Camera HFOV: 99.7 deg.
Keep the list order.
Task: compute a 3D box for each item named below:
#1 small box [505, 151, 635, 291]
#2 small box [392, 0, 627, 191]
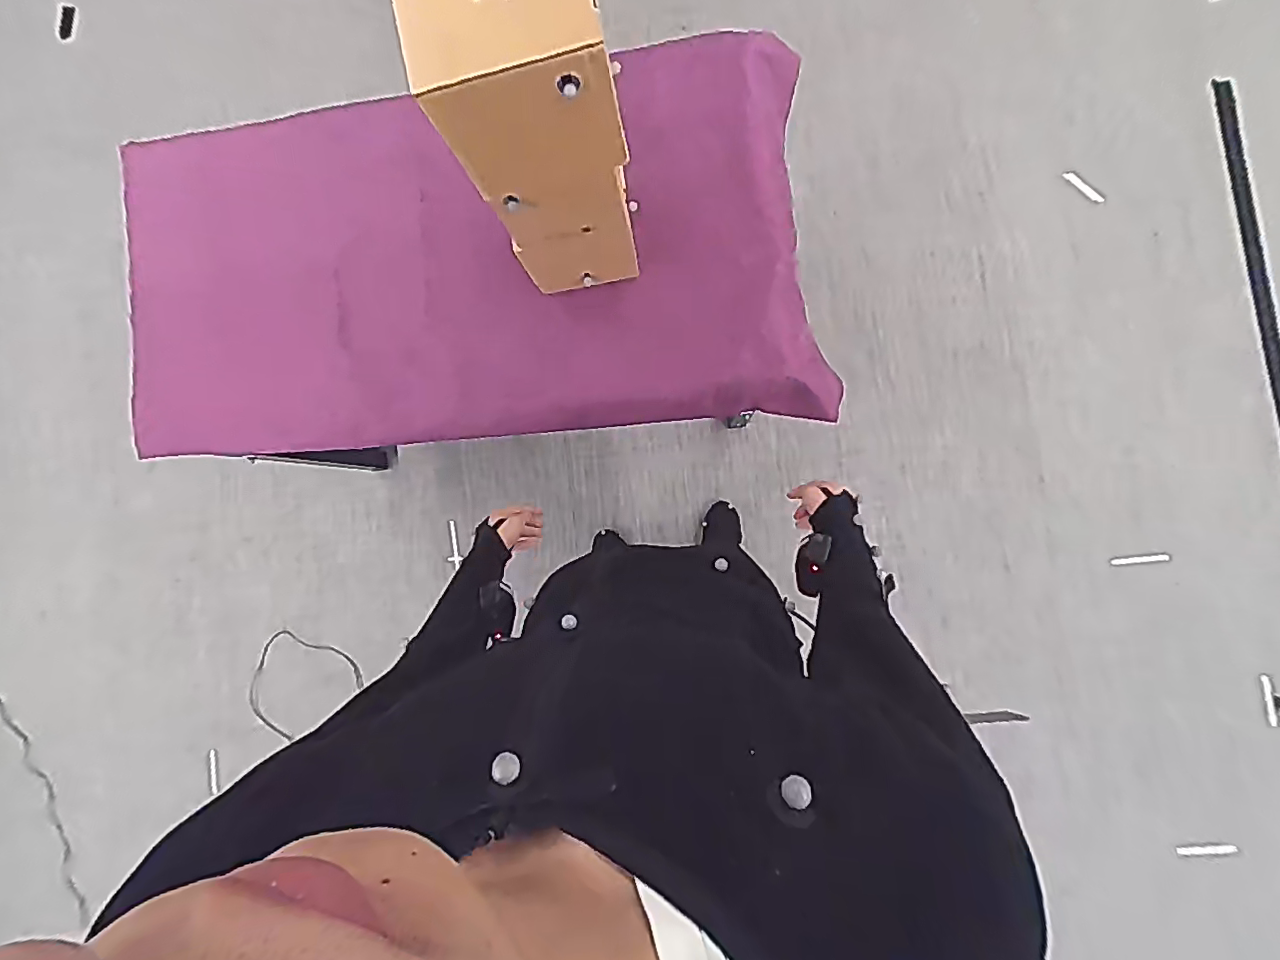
[{"bbox_3d":[-0.104,-0.424,0.863,0.179,0.176,0.168,-10,86,4],"label":"small box"},{"bbox_3d":[-0.121,-0.422,0.535,0.179,0.176,0.168,-13,86,4],"label":"small box"}]
